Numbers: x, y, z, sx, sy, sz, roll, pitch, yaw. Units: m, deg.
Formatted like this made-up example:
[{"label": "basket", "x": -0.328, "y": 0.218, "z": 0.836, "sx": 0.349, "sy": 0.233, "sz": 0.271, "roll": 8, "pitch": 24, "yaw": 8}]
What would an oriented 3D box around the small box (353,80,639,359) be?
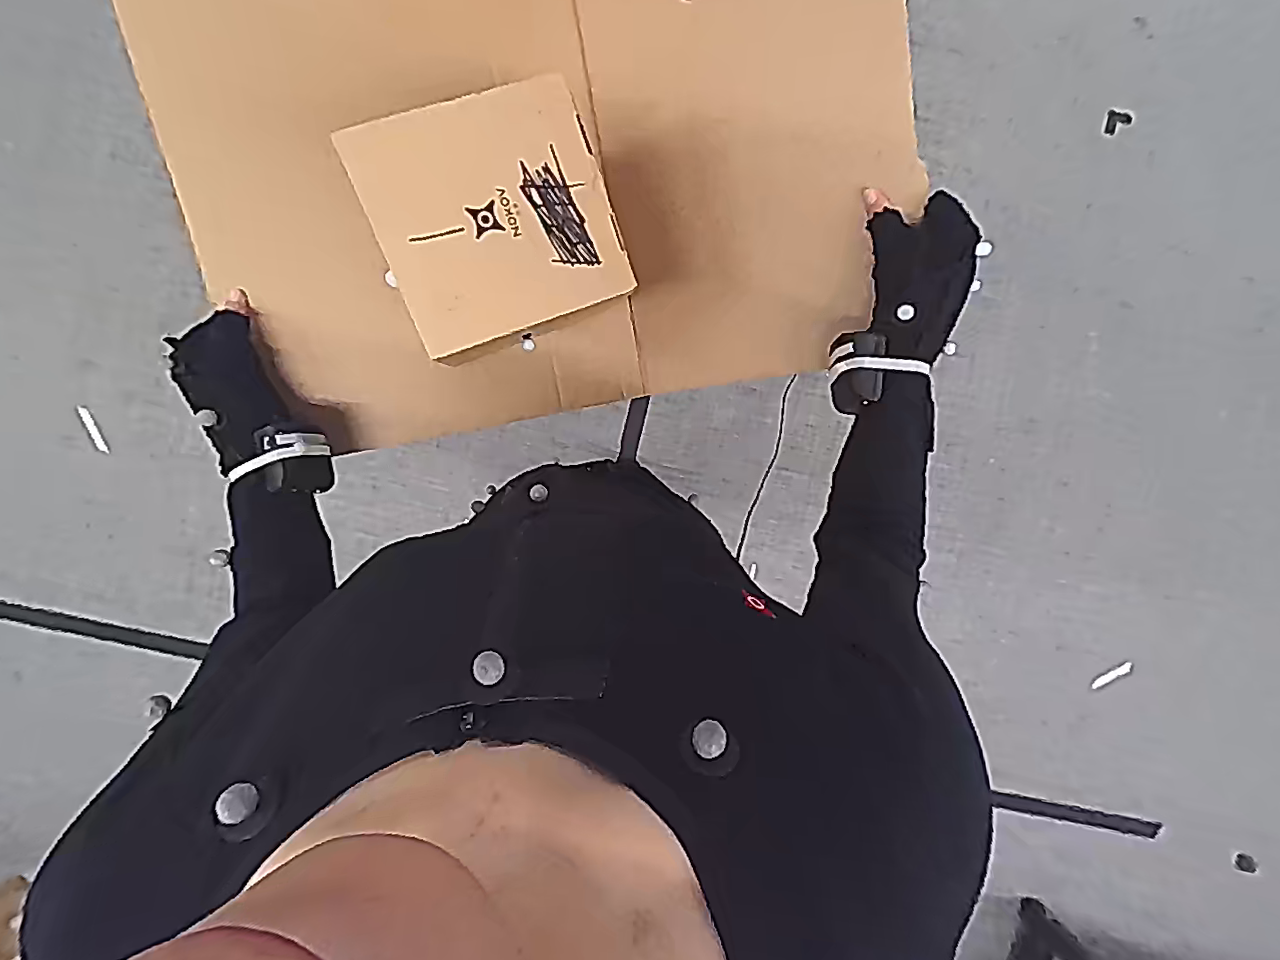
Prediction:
[{"label": "small box", "x": -0.122, "y": -0.217, "z": 0.495, "sx": 0.179, "sy": 0.176, "sz": 0.168, "roll": -21, "pitch": 104, "yaw": -9}]
